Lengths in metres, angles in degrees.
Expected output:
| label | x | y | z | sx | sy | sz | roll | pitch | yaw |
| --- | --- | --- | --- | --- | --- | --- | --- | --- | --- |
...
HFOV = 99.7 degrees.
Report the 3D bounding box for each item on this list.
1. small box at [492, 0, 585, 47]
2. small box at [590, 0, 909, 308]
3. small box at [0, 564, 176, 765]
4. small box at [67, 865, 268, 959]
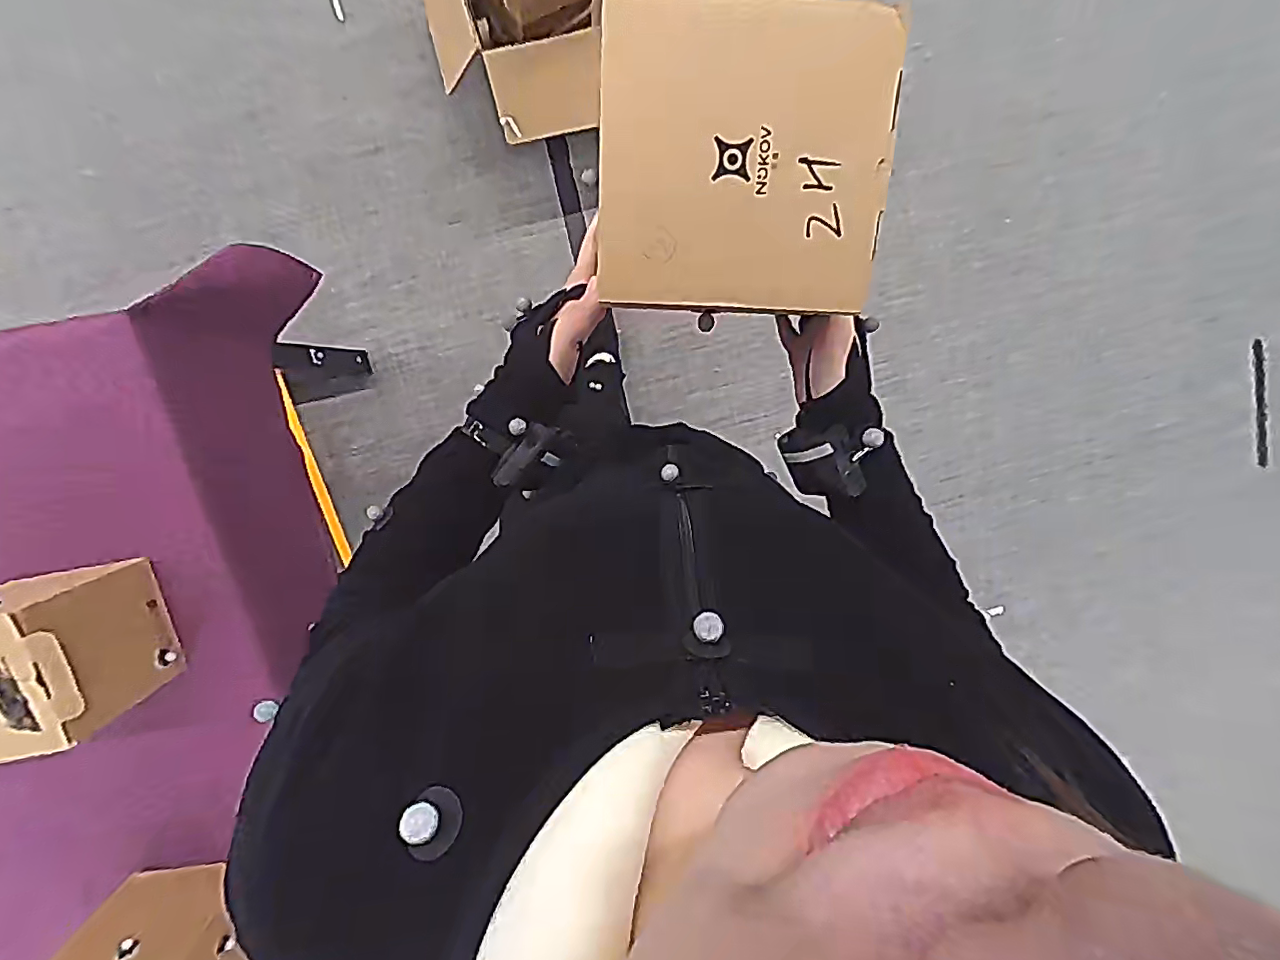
| label | x | y | z | sx | sy | sz | roll | pitch | yaw |
| --- | --- | --- | --- | --- | --- | --- | --- | --- | --- |
| small box | -0.209 | -0.980 | 1.018 | 0.179 | 0.176 | 0.168 | -36 | 103 | -1 |
| small box | 0.057 | -0.217 | 0.395 | 0.179 | 0.176 | 0.168 | 2 | 107 | -3 |
| small box | -0.709 | 0.212 | 0.644 | 0.179 | 0.176 | 0.168 | -10 | 101 | -1 |
| small box | -0.642 | 0.663 | 0.735 | 0.179 | 0.176 | 0.168 | -2 | 100 | -4 |
